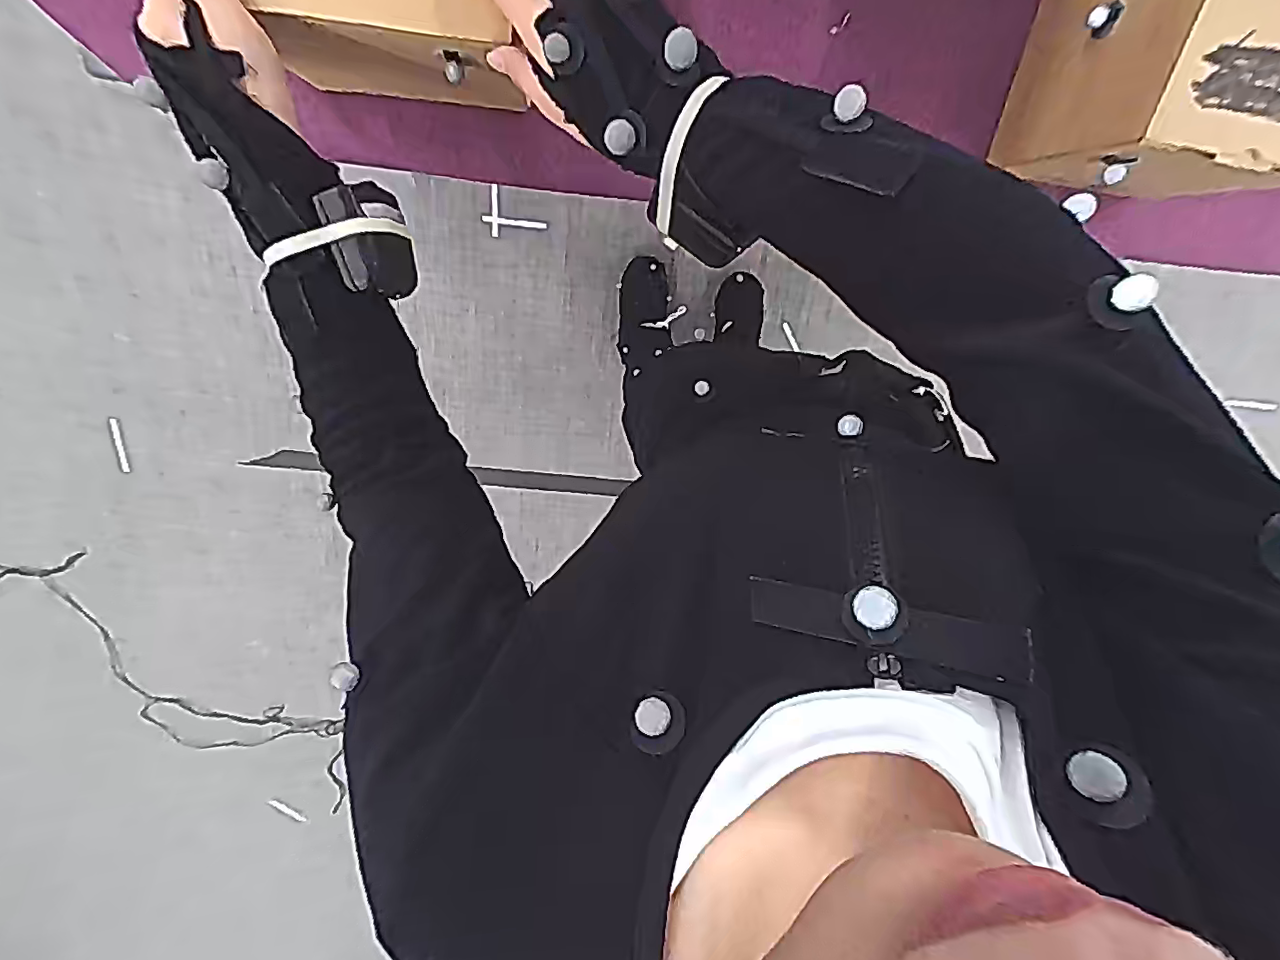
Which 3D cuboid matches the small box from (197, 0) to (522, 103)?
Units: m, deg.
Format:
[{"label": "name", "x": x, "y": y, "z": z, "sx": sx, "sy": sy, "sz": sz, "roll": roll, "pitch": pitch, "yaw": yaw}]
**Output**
[{"label": "small box", "x": -0.172, "y": -0.368, "z": 0.352, "sx": 0.179, "sy": 0.176, "sz": 0.168, "roll": -1, "pitch": 113, "yaw": -10}]
